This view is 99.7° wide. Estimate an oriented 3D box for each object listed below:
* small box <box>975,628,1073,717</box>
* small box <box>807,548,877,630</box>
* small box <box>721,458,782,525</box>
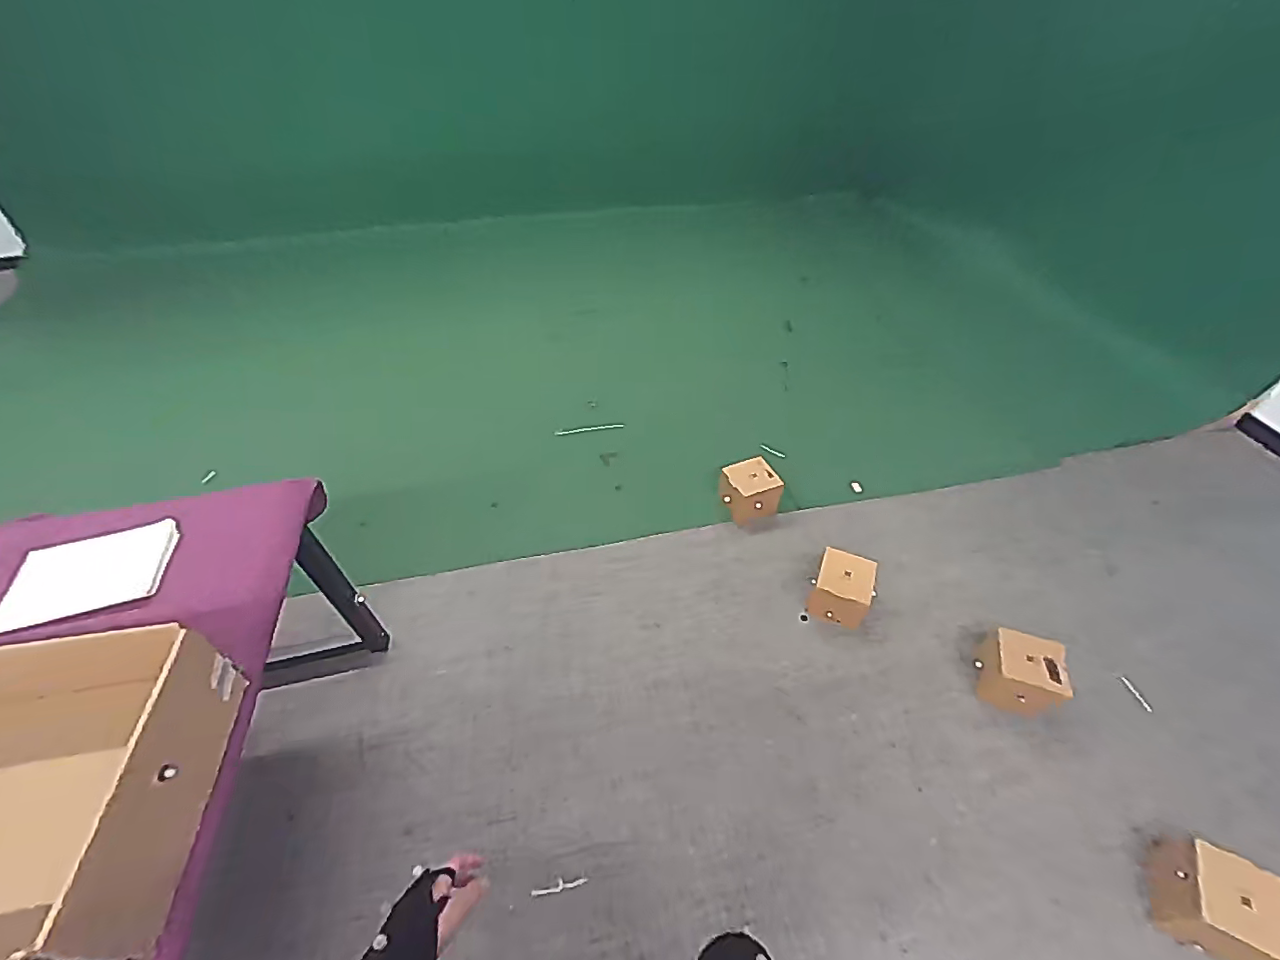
[{"bbox_3d":[1.111,0.566,1.579,0.179,0.176,0.168,15,48,15],"label":"small box"},{"bbox_3d":[0.663,0.361,1.783,0.168,0.176,0.179,17,50,16],"label":"small box"},{"bbox_3d":[0.422,0.048,2.081,0.179,0.176,0.168,-17,49,-15],"label":"small box"}]
